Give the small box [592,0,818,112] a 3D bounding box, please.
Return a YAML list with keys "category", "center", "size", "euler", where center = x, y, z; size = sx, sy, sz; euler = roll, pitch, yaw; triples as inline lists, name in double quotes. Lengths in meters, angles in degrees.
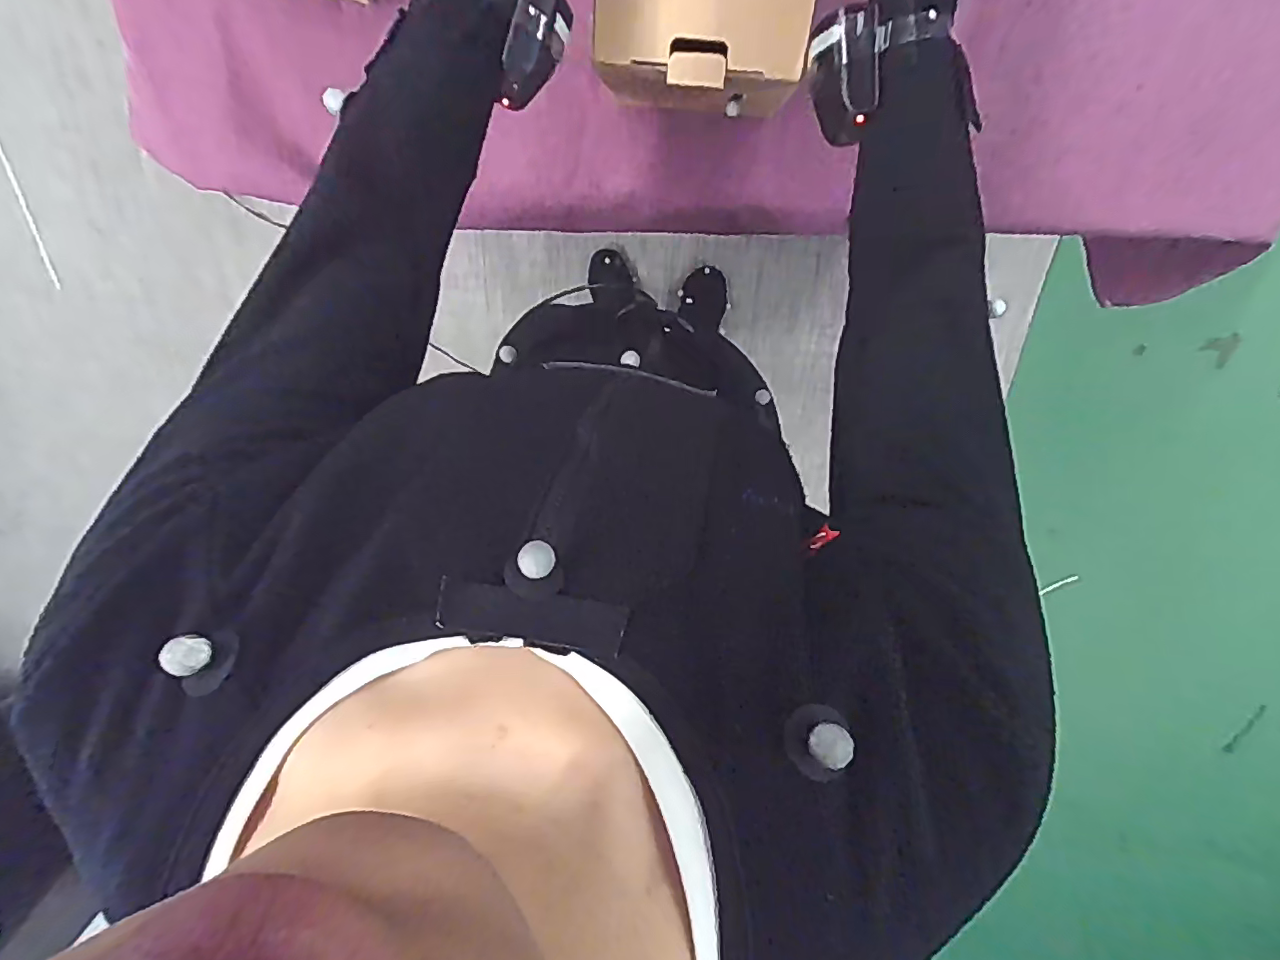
- category: "small box"
  center: [0.059, -0.424, 0.446]
  size: [0.168, 0.176, 0.179]
  euler: [7, 116, 1]
